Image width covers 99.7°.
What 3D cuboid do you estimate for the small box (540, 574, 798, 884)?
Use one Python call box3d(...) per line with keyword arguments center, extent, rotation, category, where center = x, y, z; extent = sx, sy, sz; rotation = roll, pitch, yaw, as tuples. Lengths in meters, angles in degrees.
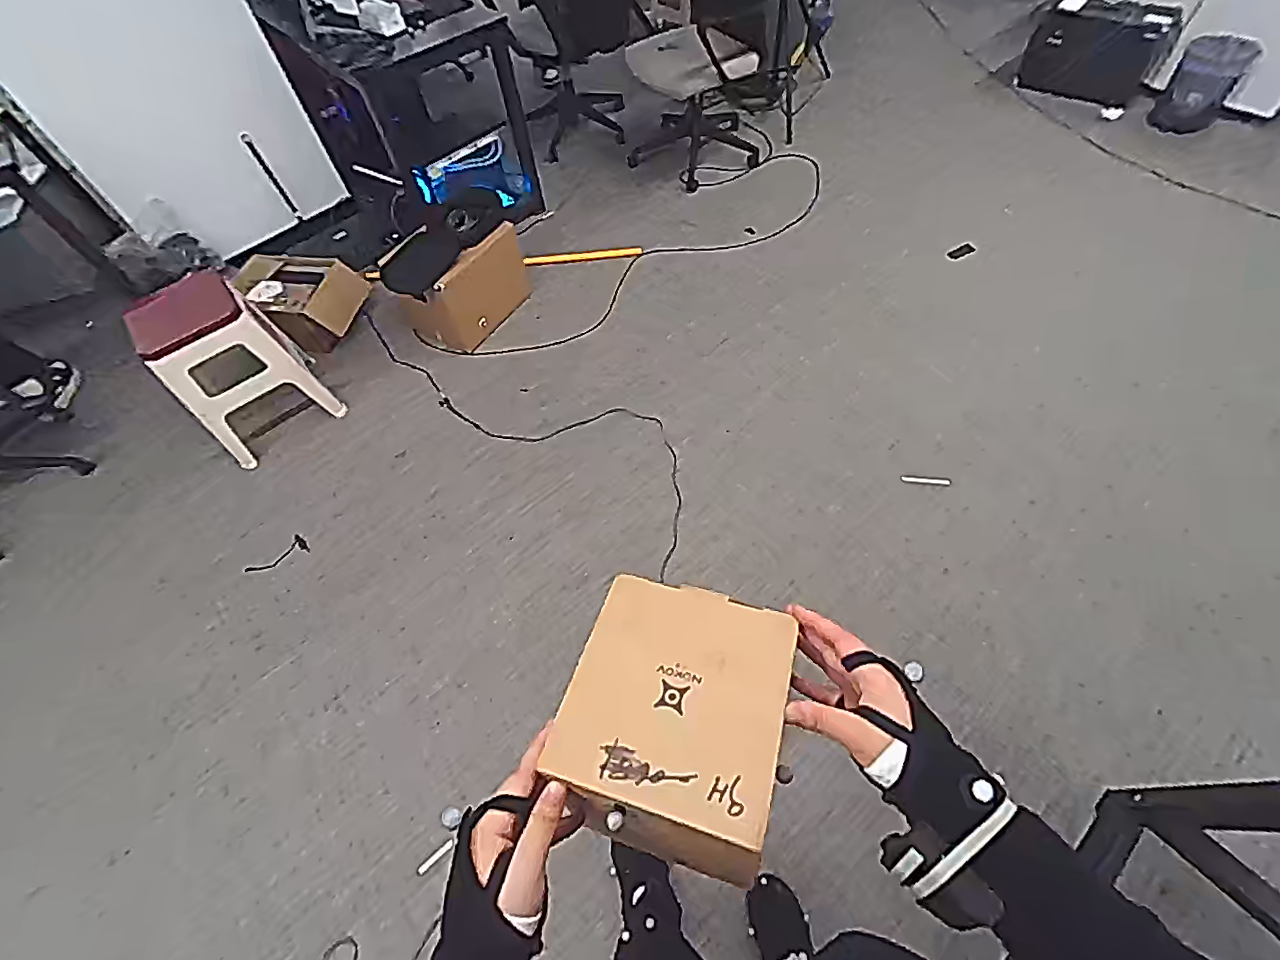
box3d(center=(0.037, 0.216, 0.480), extent=(0.168, 0.176, 0.179), rotation=(9, 47, 19), category="small box")
